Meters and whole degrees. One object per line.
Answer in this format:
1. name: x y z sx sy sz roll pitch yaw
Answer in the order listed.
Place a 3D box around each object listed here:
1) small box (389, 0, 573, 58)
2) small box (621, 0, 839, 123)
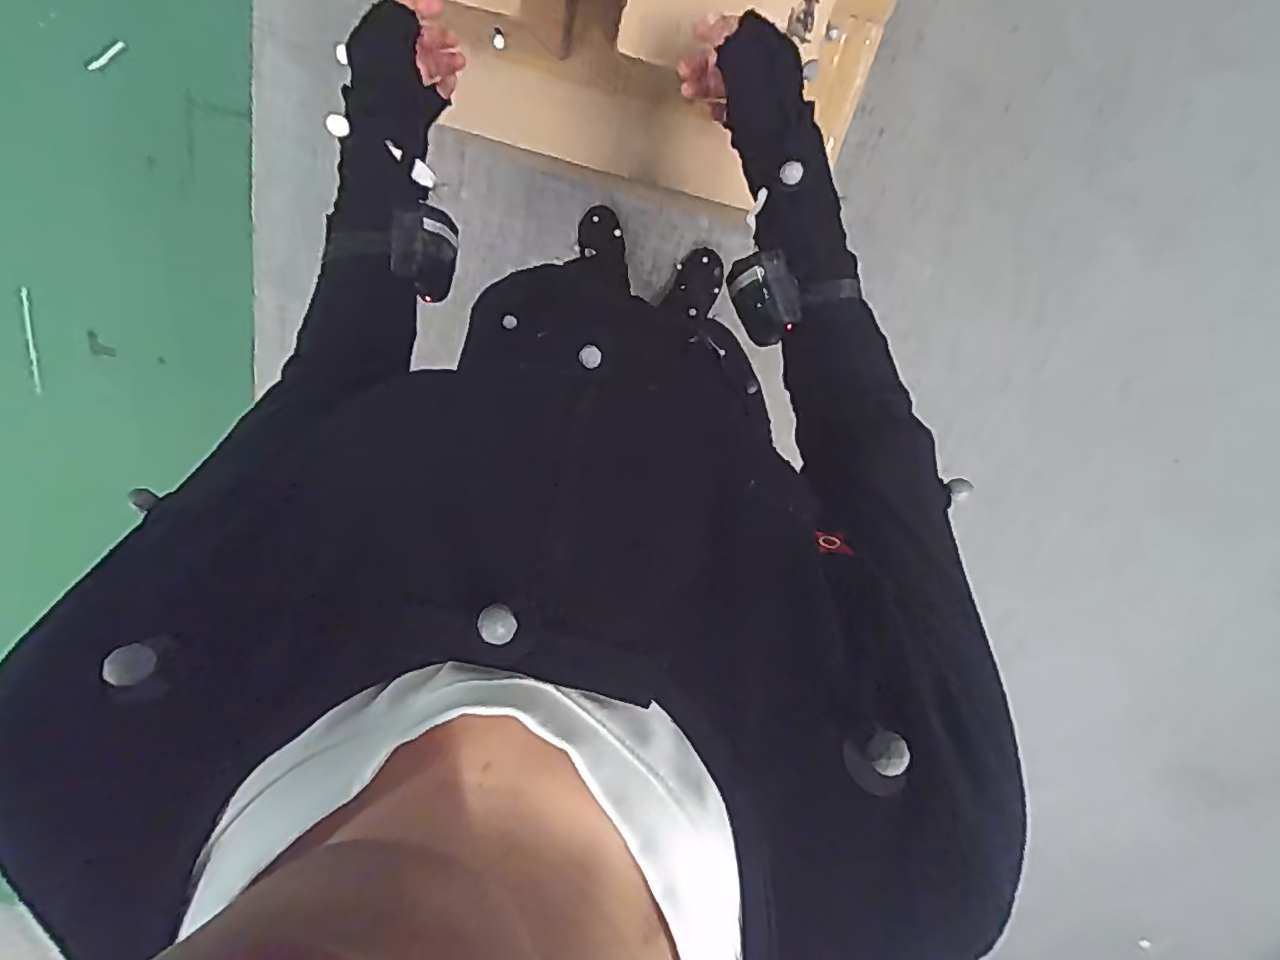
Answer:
1. small box: -0.156 -0.539 0.520 0.179 0.176 0.168 16 117 1
2. small box: 0.097 -0.468 0.522 0.179 0.176 0.168 17 119 -1
